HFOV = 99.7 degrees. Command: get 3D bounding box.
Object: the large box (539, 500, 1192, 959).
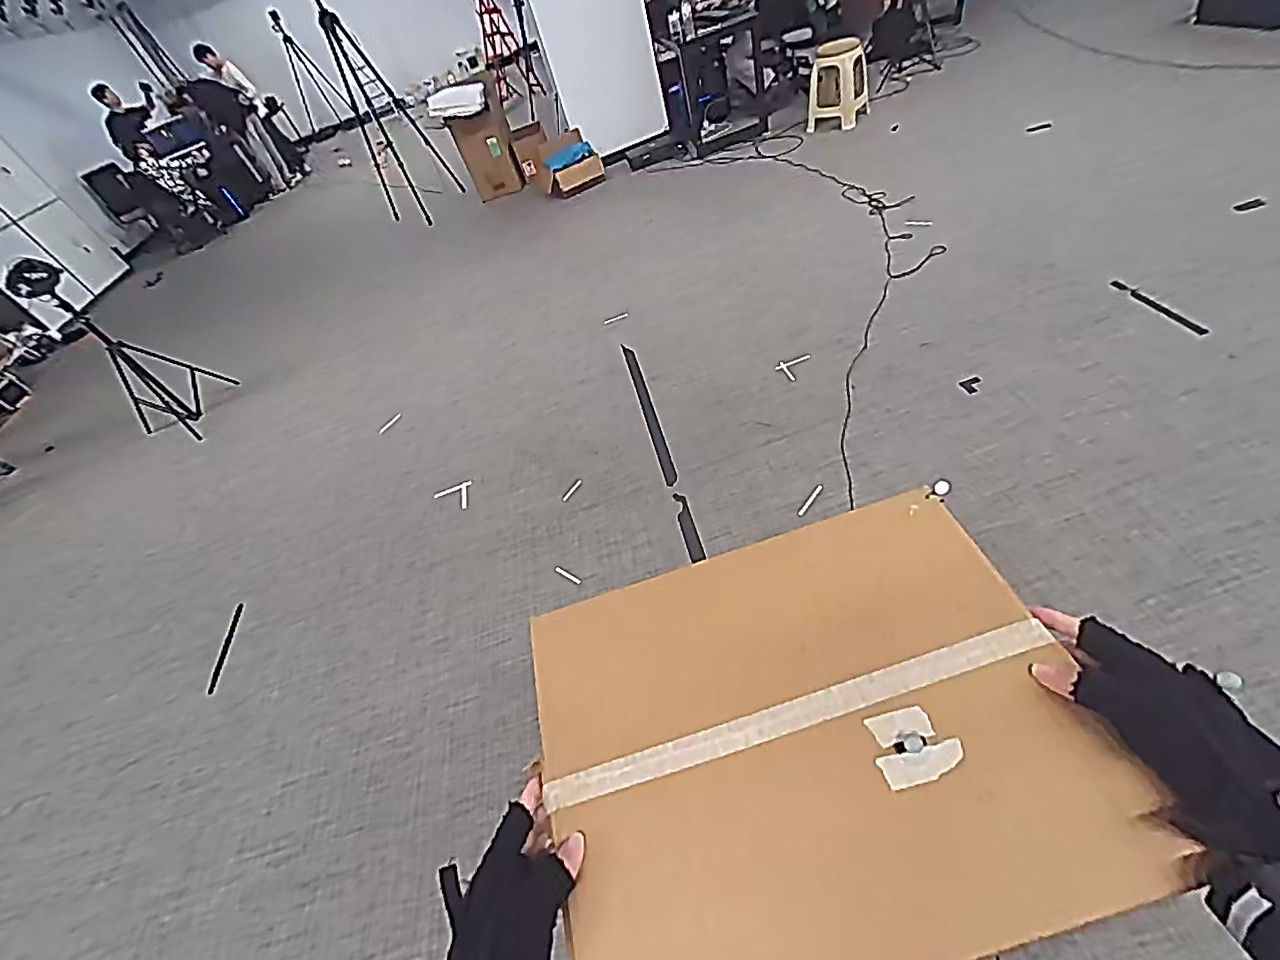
[{"bbox_3d":[0.154,0.285,0.544,0.408,0.320,0.320,-19,49,1],"label":"large box"}]
